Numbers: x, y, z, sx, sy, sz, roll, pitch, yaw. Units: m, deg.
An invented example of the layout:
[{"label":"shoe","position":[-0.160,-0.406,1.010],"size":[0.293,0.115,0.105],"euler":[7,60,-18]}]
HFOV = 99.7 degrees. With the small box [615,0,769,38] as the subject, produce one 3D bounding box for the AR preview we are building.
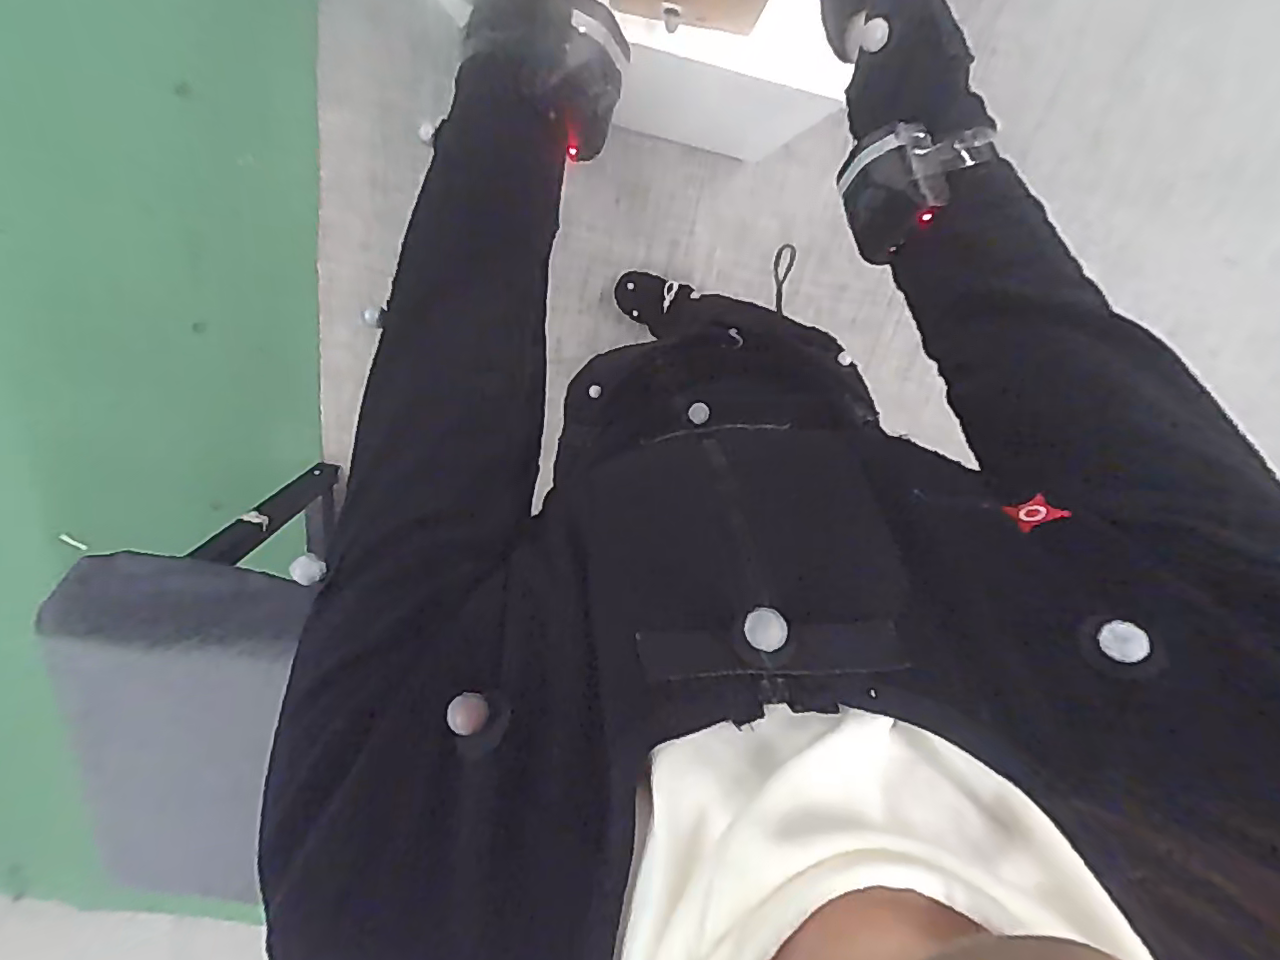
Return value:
[{"label":"small box","position":[0.057,-0.561,0.507],"size":[0.168,0.176,0.179],"euler":[8,114,-1]}]
